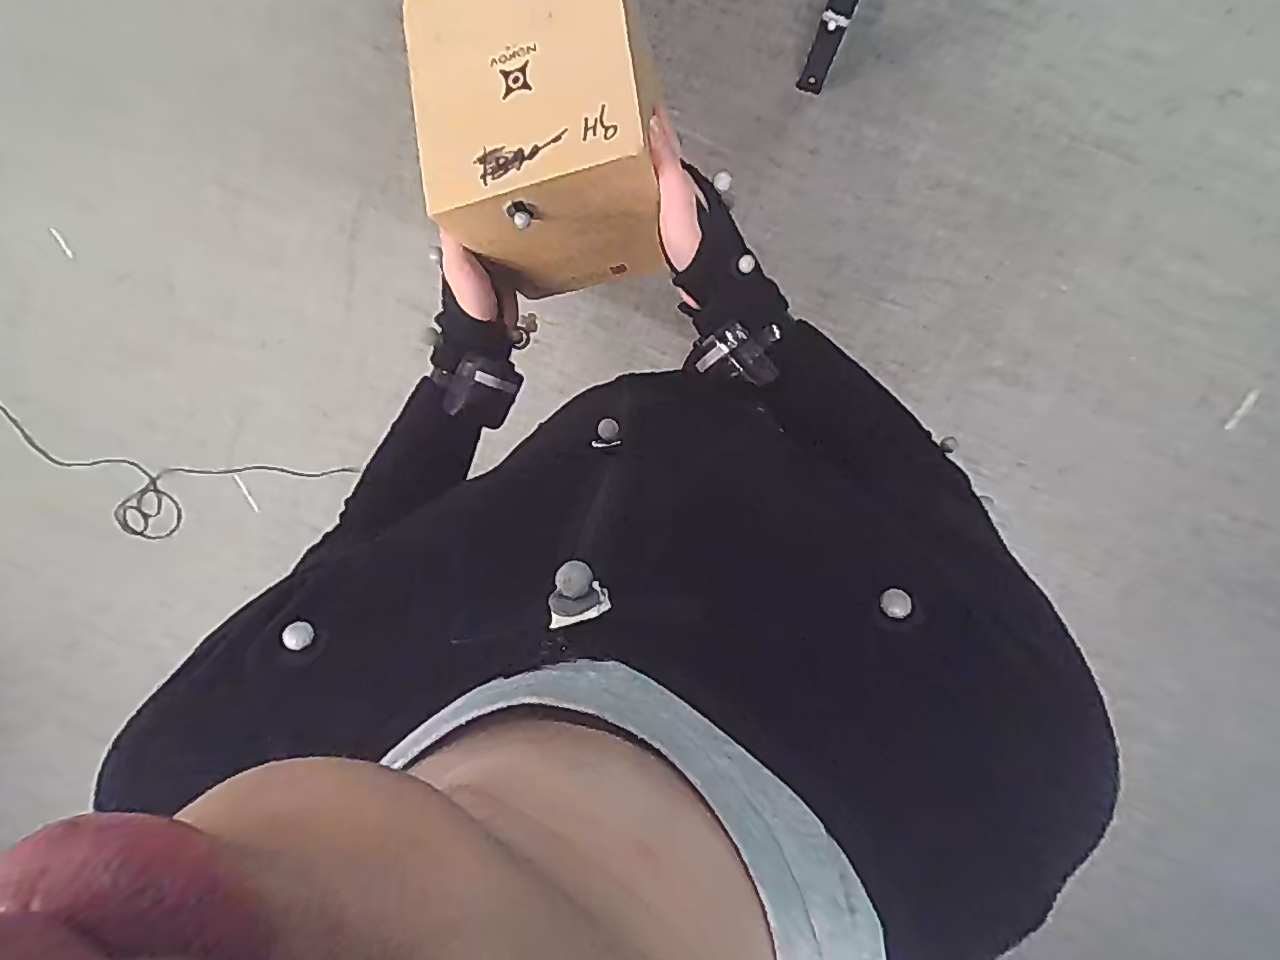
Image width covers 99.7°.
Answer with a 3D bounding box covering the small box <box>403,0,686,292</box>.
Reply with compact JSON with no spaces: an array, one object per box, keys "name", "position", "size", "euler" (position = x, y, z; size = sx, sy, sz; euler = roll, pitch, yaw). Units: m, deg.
[{"name":"small box","position":[-0.065,-0.285,0.448],"size":[0.168,0.176,0.179],"euler":[-10,85,14]}]
